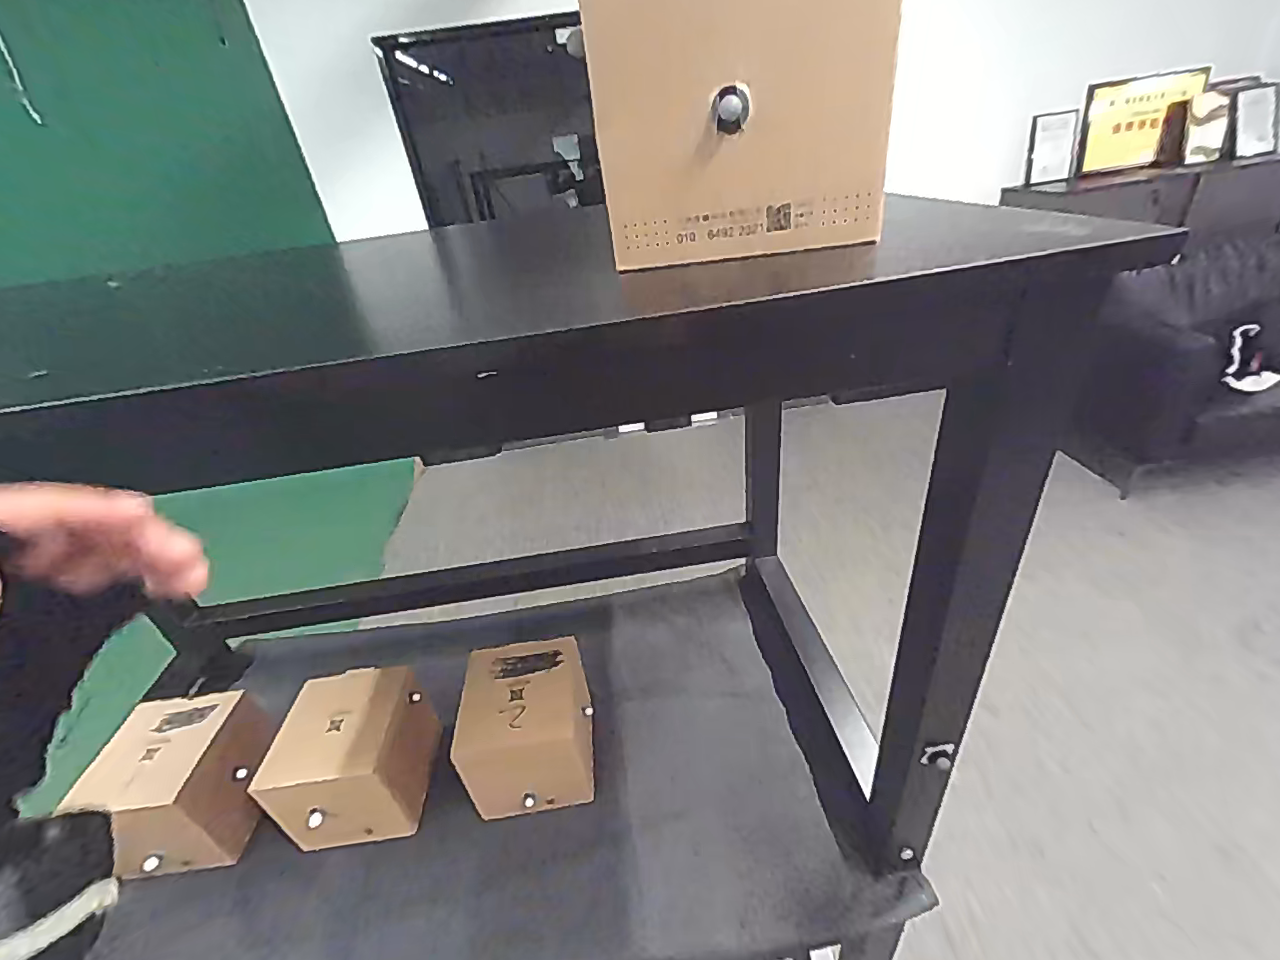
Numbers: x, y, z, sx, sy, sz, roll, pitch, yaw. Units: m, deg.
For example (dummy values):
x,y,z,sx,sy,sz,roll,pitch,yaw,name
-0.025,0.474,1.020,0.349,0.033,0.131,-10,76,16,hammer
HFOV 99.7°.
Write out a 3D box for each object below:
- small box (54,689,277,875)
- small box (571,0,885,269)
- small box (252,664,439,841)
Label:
x,y,z,sx,sy,sz,roll,pitch,yaw,name
-0.672,0.446,0.807,0.168,0.176,0.179,-8,32,0,small box
0.061,-0.250,0.373,0.168,0.176,0.179,-3,32,8,small box
-0.421,0.412,0.813,0.168,0.176,0.179,-8,31,-1,small box
